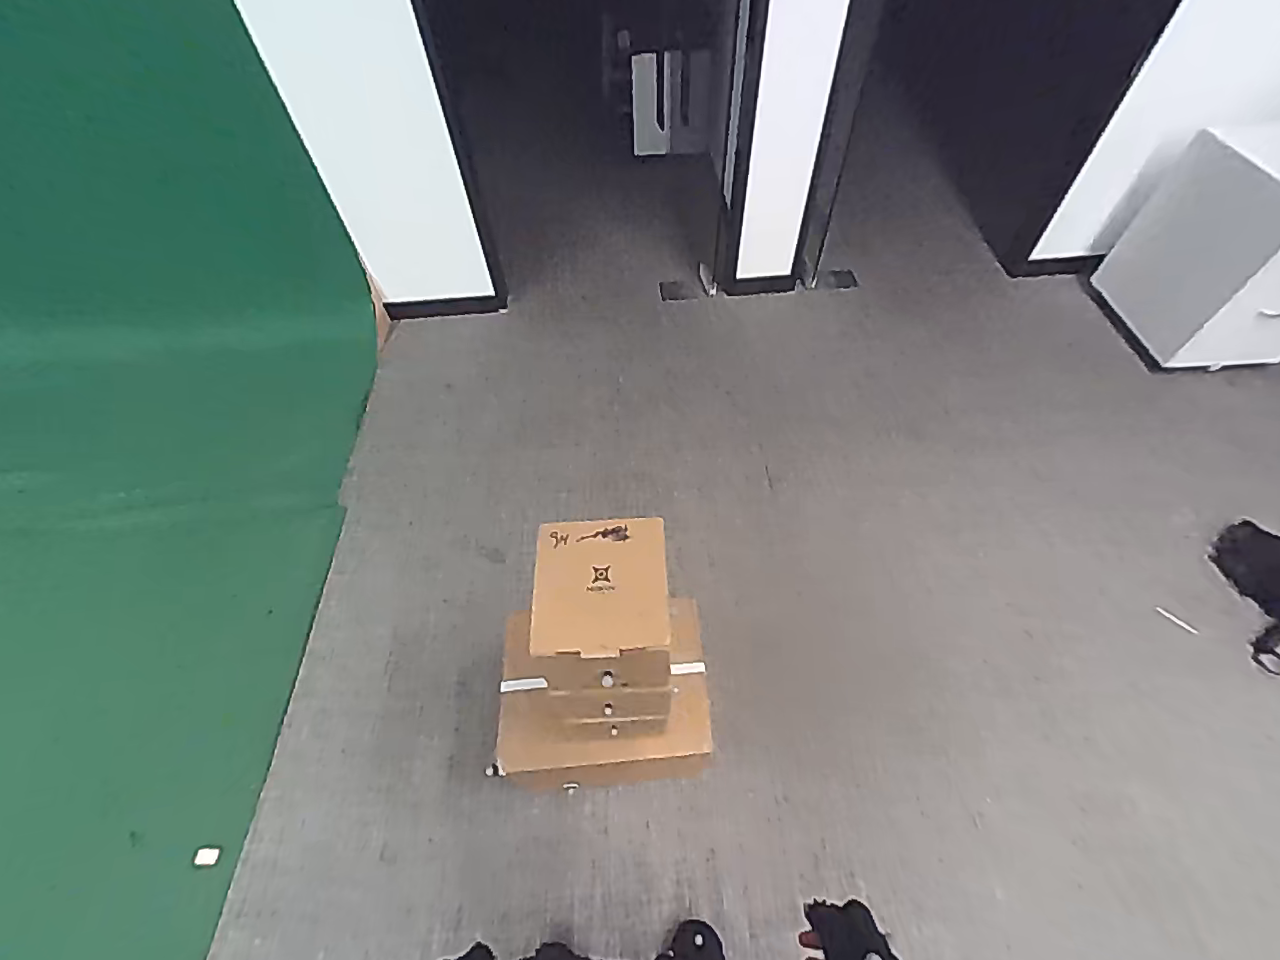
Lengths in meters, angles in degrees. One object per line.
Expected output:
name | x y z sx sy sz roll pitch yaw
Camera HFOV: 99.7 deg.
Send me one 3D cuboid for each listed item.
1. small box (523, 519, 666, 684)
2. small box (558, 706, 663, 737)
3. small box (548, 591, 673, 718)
small box | -0.051 0.170 0.730 0.168 0.176 0.179 -3 56 1
small box | -0.049 0.367 0.993 0.179 0.176 0.168 -3 56 -1
small box | -0.046 0.272 0.859 0.179 0.176 0.168 -4 56 -2
